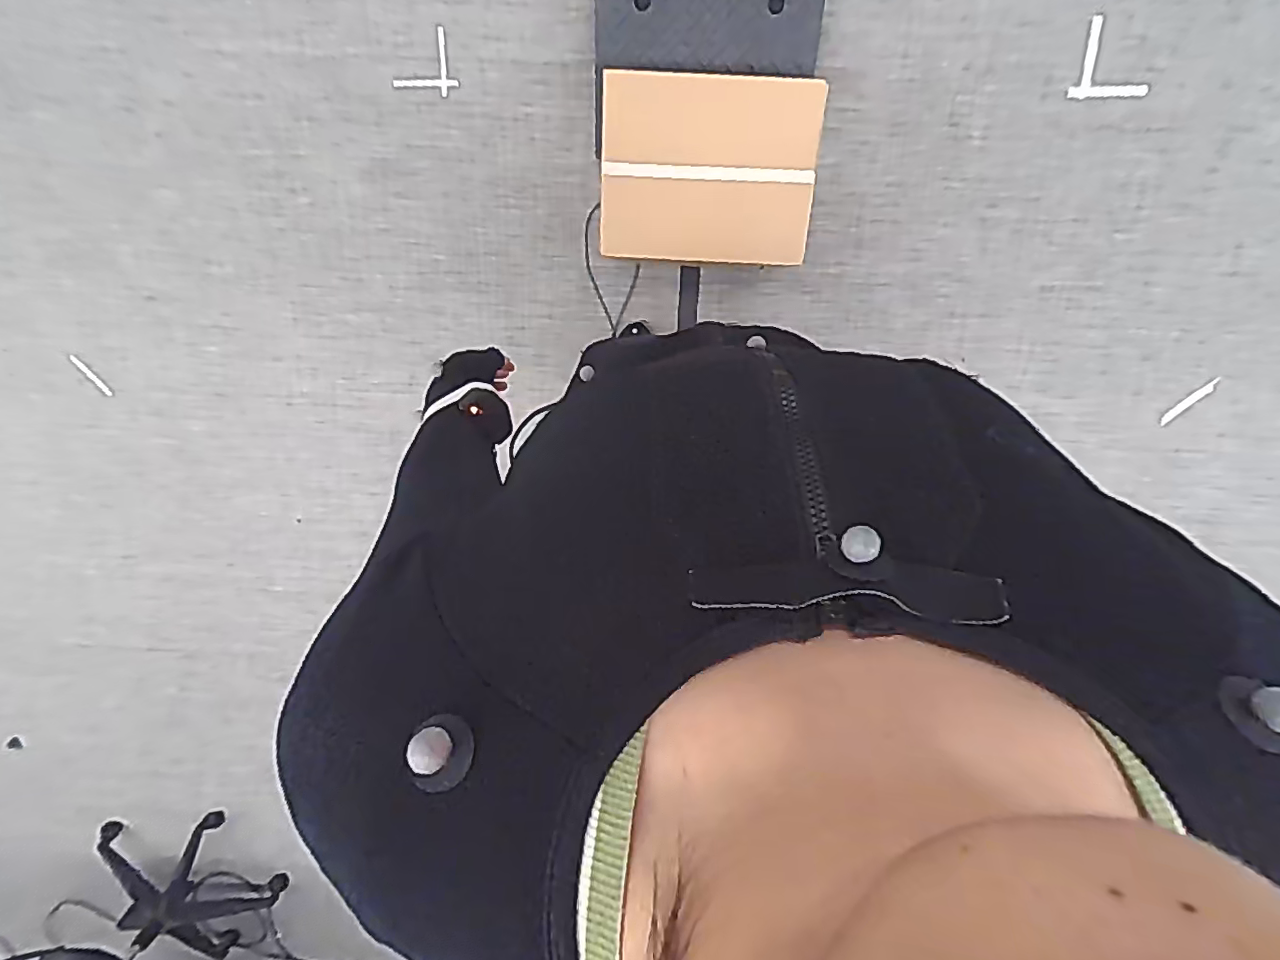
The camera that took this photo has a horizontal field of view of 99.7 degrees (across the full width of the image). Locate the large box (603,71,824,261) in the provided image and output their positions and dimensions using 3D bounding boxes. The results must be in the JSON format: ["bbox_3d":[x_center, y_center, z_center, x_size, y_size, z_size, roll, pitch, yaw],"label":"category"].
[{"bbox_3d":[0.137,-0.644,1.166,0.408,0.320,0.320,3,110,1],"label":"large box"}]

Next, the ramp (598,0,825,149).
[{"bbox_3d":[0.159,-1.224,1.061,0.509,0.206,0.991,1,107,1],"label":"ramp"}]
